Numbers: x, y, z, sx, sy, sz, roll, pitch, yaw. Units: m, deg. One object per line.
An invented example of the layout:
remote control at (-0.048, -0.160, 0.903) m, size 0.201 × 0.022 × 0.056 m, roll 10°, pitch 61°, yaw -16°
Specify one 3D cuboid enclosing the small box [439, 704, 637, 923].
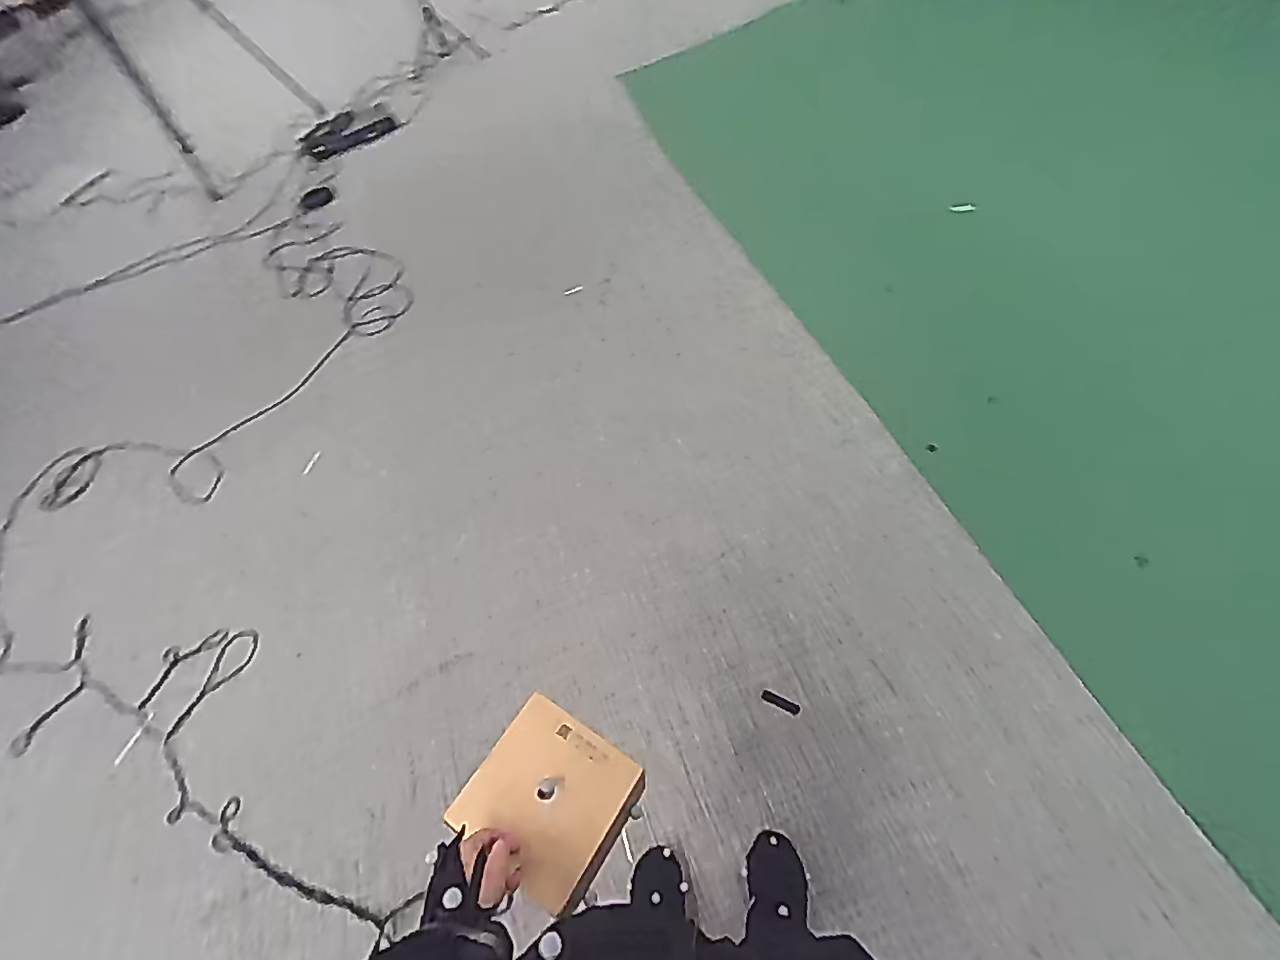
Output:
small box at (-0.113, 0.413, 0.685) m, size 0.168 × 0.179 × 0.176 m, roll 25°, pitch 58°, yaw 18°
